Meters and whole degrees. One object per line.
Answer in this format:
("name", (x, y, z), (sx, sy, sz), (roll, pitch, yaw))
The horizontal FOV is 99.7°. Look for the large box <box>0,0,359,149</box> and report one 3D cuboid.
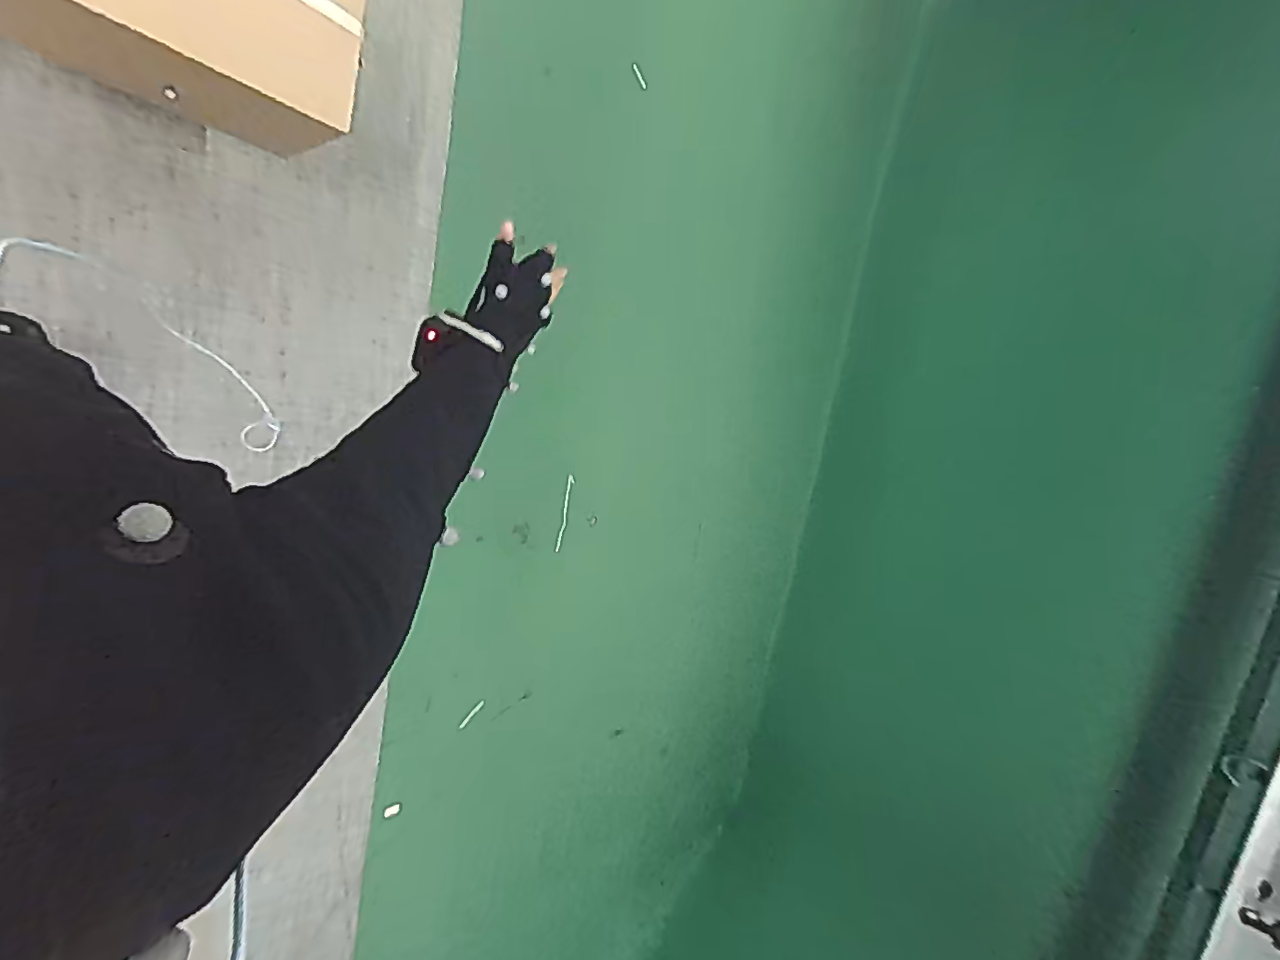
("large box", (-0.701, -0.771, 0.824), (0.408, 0.320, 0.320), (2, 102, -51))
